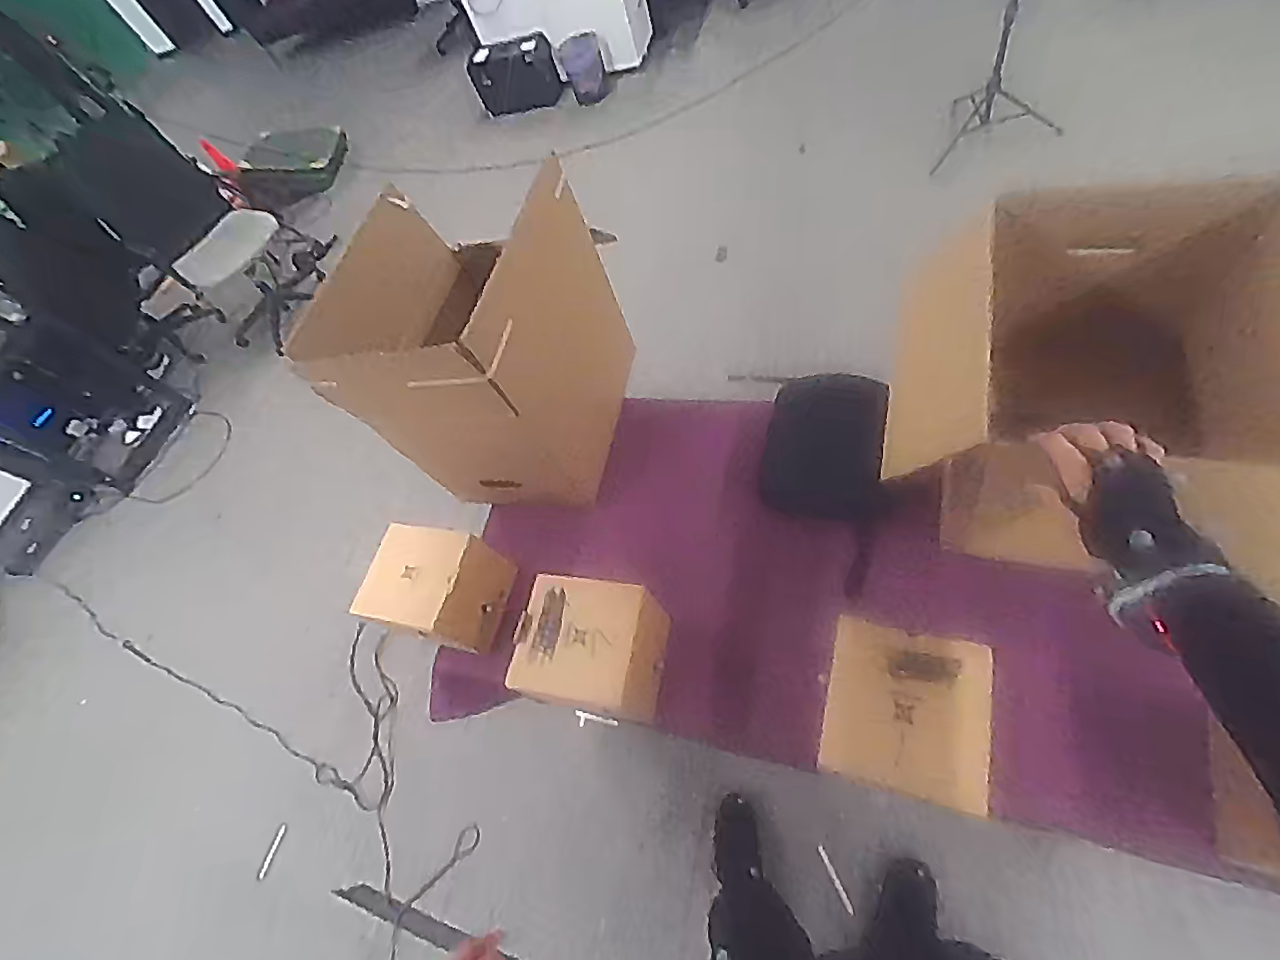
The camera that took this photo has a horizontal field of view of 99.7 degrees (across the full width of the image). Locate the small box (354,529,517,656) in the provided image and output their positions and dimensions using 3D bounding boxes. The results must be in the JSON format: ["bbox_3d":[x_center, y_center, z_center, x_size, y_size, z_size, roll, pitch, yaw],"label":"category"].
[{"bbox_3d":[-0.349,0.202,0.957,0.179,0.176,0.168,4,62,20],"label":"small box"}]

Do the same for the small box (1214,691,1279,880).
[{"bbox_3d":[0.711,0.312,0.522,0.168,0.176,0.179,10,64,25],"label":"small box"}]

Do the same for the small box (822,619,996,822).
[{"bbox_3d":[0.323,0.295,0.669,0.168,0.176,0.179,8,64,24],"label":"small box"}]
